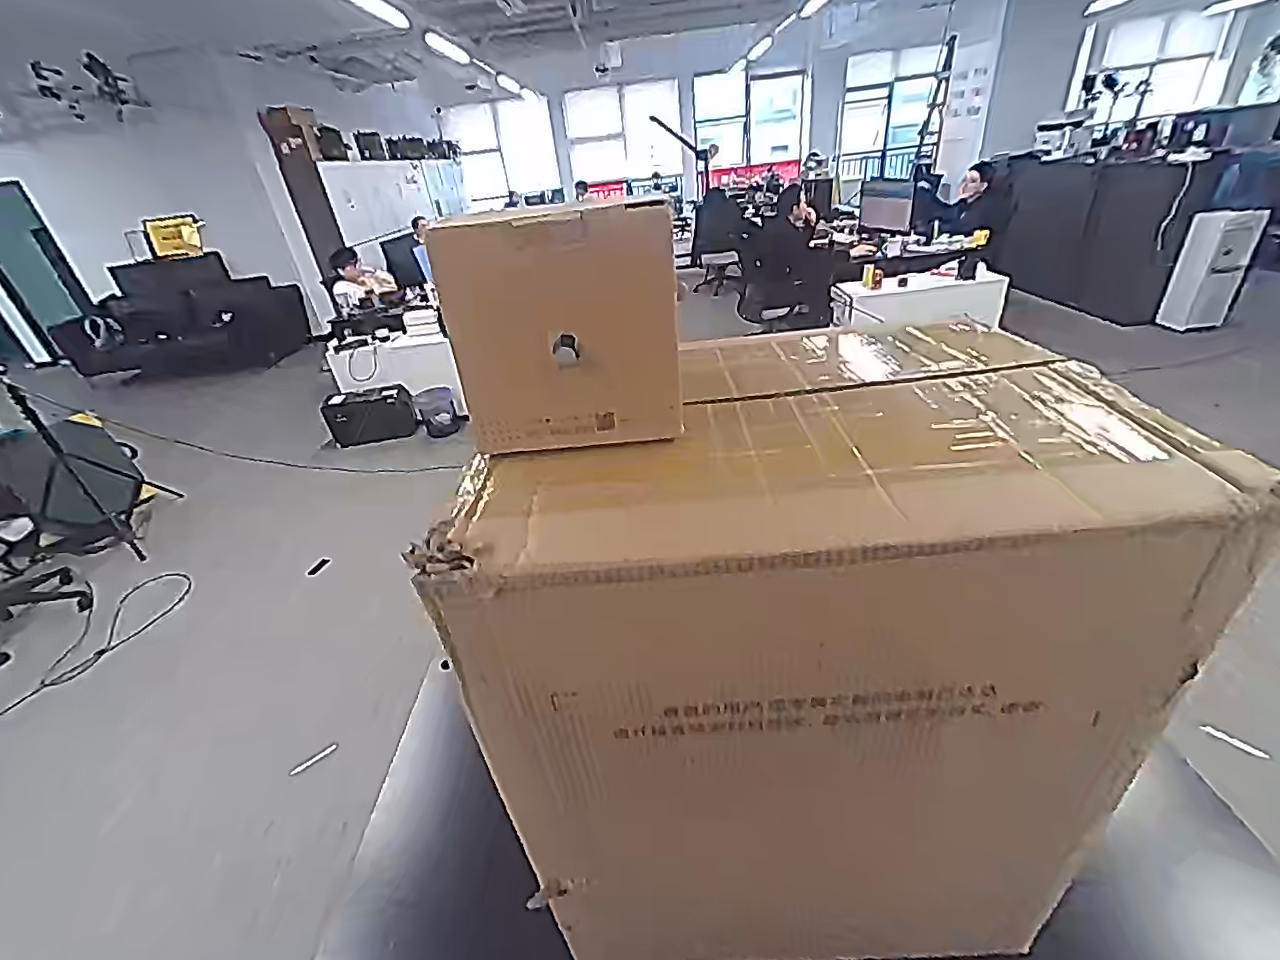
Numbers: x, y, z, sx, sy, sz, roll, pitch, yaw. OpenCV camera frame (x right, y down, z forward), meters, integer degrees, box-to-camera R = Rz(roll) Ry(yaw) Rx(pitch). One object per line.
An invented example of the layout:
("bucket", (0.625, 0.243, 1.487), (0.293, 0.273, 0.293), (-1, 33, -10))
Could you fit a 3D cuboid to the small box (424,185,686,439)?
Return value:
("small box", (-0.053, -0.141, 0.456), (0.168, 0.176, 0.179), (-5, 30, 1))
